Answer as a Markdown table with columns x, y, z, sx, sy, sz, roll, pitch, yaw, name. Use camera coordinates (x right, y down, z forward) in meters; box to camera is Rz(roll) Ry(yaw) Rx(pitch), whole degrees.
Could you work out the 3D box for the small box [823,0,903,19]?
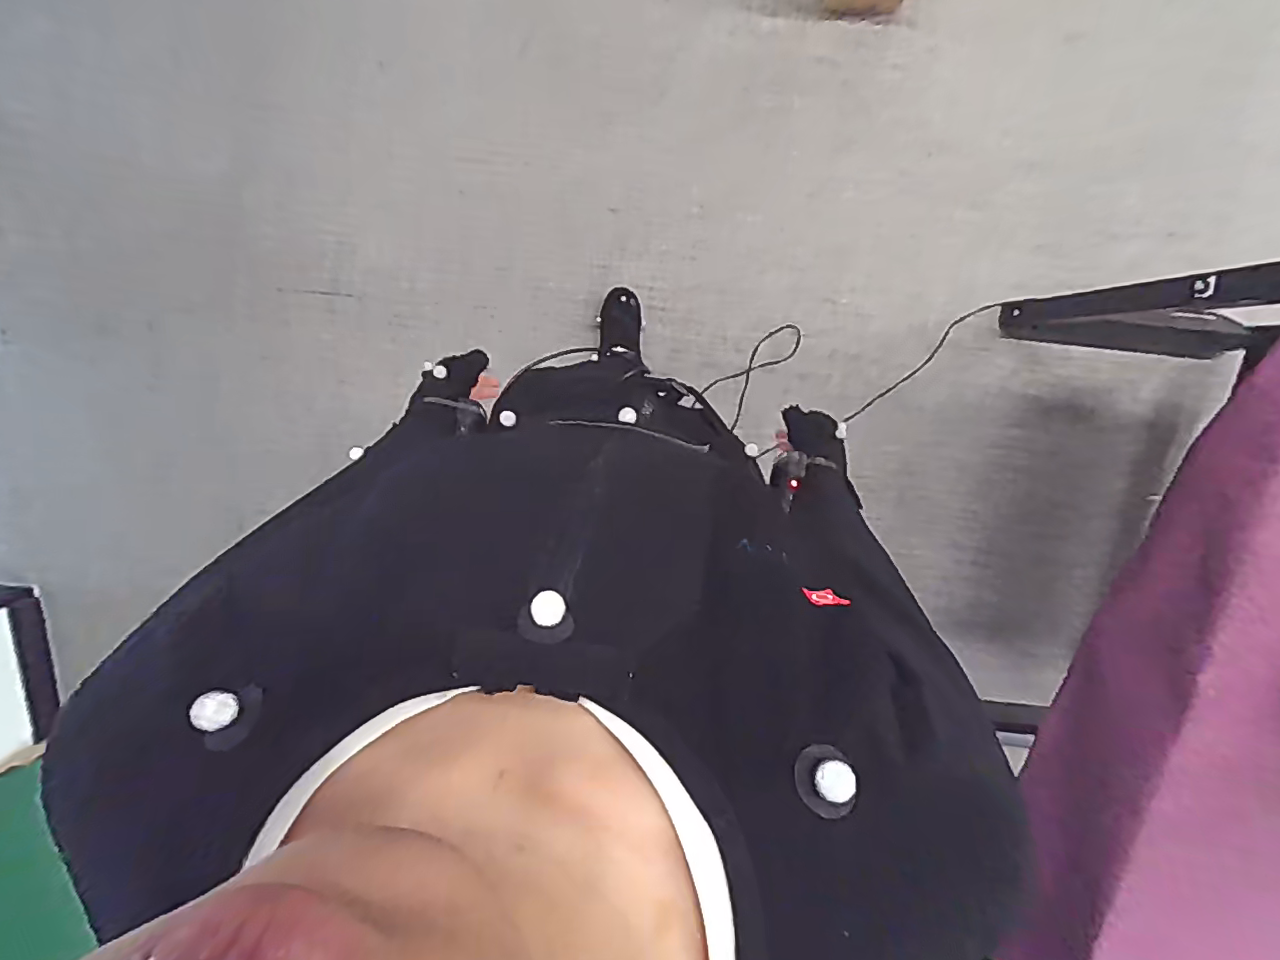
| x | y | z | sx | sy | sz | roll | pitch | yaw | name |
| --- | --- | --- | --- | --- | --- | --- | --- | --- | --- |
| 0.493 | -1.117 | 1.126 | 0.168 | 0.176 | 0.179 | 5 | 102 | 1 | small box |
